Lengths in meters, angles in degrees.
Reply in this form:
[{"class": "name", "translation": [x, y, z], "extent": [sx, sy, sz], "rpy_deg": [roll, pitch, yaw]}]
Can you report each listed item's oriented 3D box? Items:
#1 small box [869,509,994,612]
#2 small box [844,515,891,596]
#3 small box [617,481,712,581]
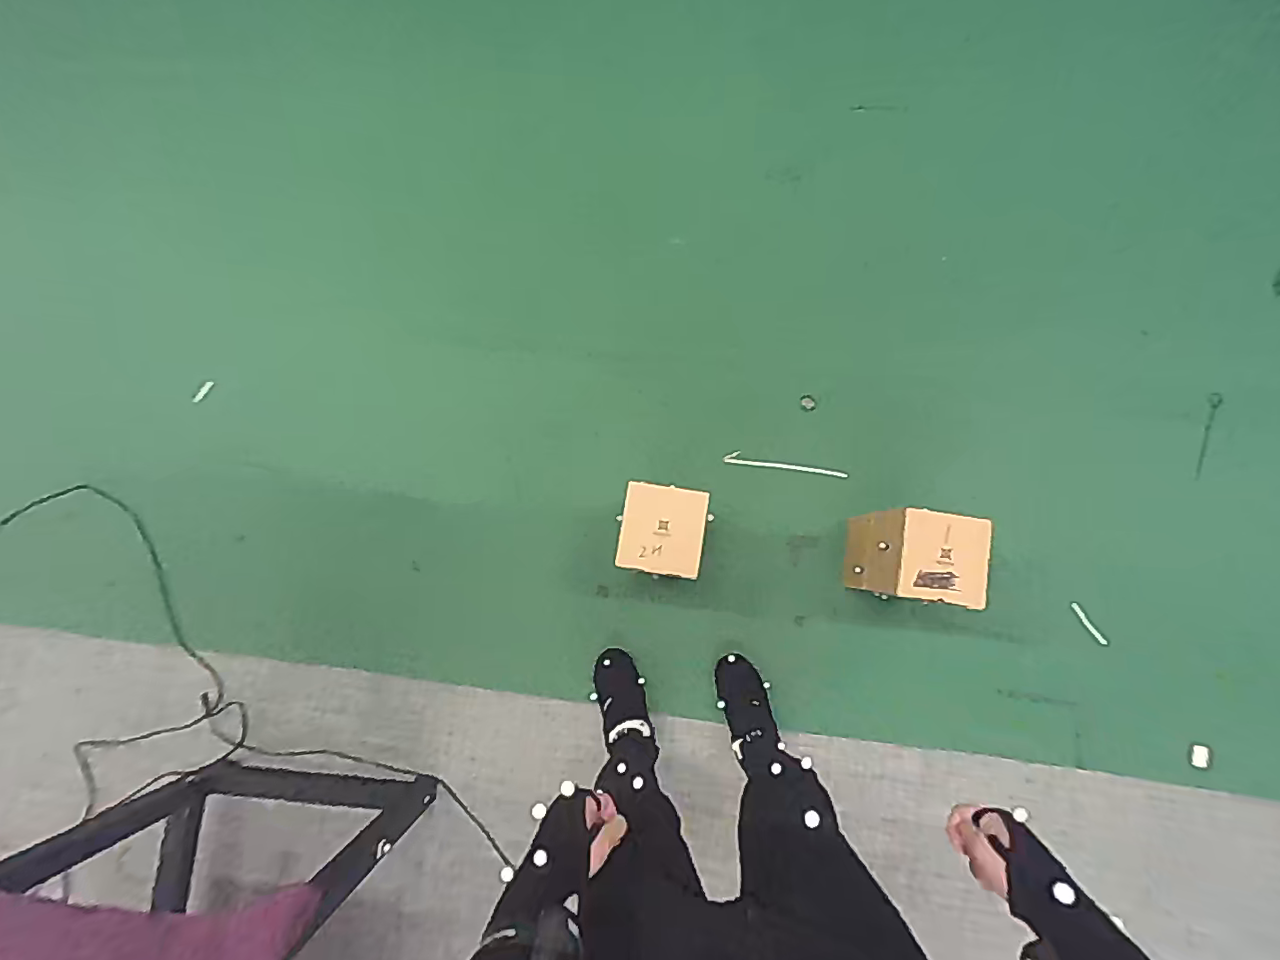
[{"class": "small box", "translation": [0.590, 0.163, 1.116], "extent": [0.168, 0.176, 0.179], "rpy_deg": [9, 83, 3]}, {"class": "small box", "translation": [0.596, 0.183, 1.278], "extent": [0.168, 0.176, 0.179], "rpy_deg": [8, 84, 3]}, {"class": "small box", "translation": [0.052, 0.111, 1.147], "extent": [0.168, 0.176, 0.179], "rpy_deg": [9, 83, 5]}]
